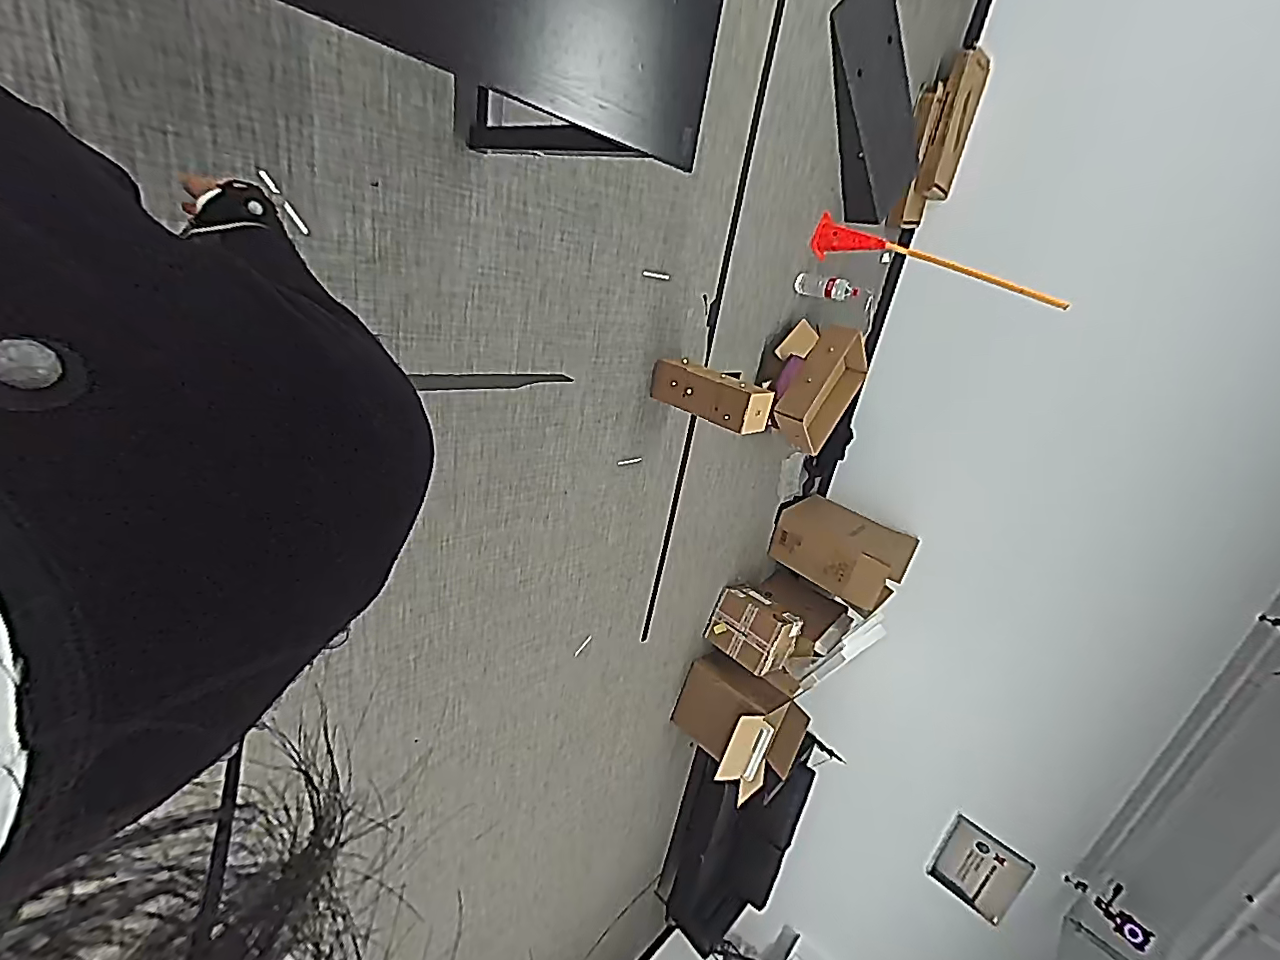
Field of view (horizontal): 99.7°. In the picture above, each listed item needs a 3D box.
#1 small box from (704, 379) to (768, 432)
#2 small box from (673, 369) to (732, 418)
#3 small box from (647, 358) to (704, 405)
[{"bbox_3d":[0.382,-0.303,2.167,0.179,0.176,0.168,-14,124,-46],"label":"small box"},{"bbox_3d":[0.265,-0.366,2.260,0.179,0.176,0.168,-12,121,-46],"label":"small box"},{"bbox_3d":[0.152,-0.432,2.360,0.168,0.176,0.179,-12,122,-46],"label":"small box"}]
